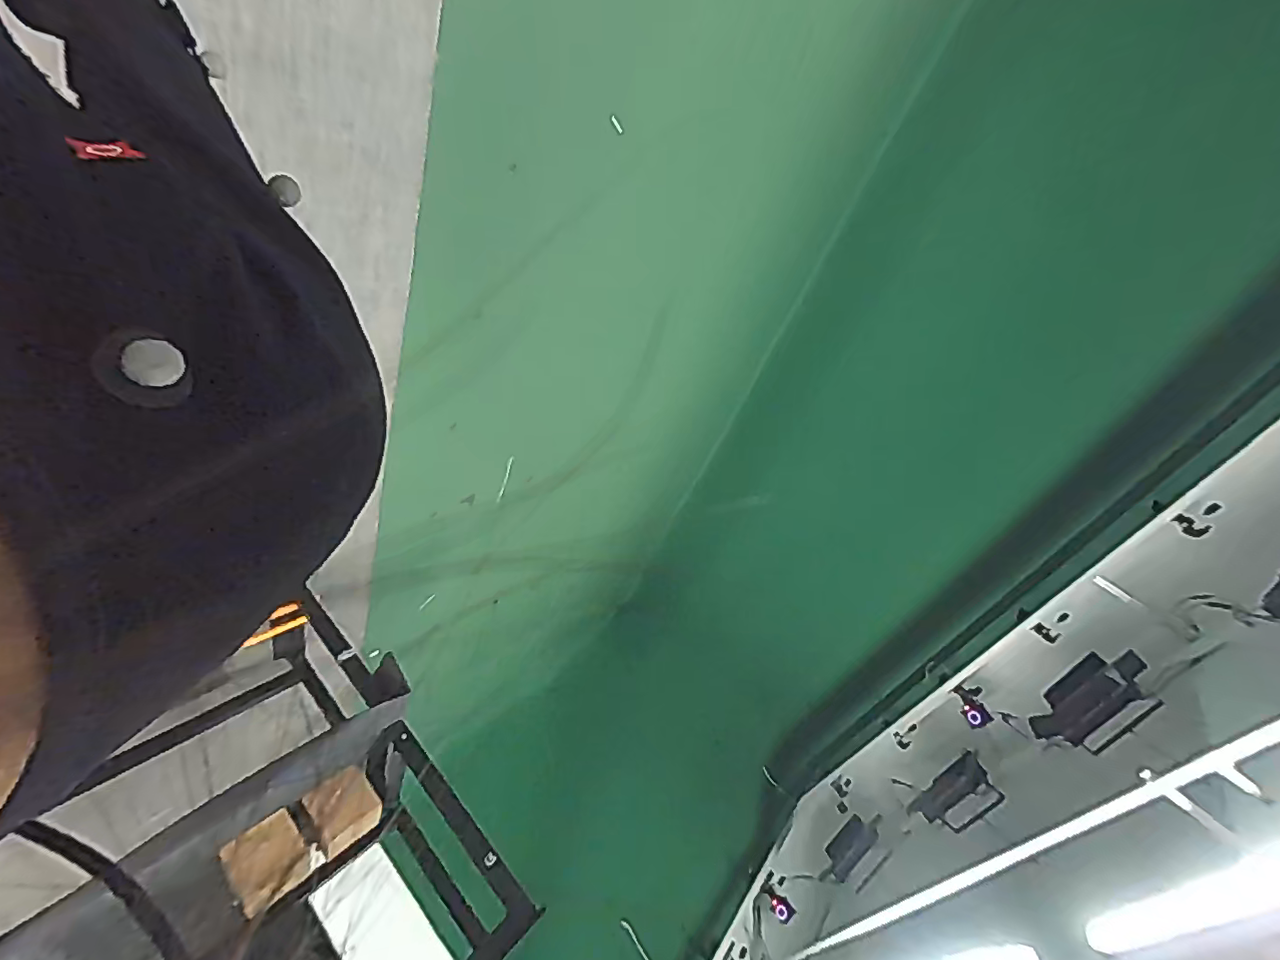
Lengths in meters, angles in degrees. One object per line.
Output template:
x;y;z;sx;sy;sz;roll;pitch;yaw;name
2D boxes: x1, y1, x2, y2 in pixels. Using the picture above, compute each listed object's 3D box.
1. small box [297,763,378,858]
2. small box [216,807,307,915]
-0.963;1.041;1.717;0.168;0.176;0.179;-25;149;-48;small box
-1.090;1.091;1.560;0.168;0.176;0.179;-24;148;-48;small box
